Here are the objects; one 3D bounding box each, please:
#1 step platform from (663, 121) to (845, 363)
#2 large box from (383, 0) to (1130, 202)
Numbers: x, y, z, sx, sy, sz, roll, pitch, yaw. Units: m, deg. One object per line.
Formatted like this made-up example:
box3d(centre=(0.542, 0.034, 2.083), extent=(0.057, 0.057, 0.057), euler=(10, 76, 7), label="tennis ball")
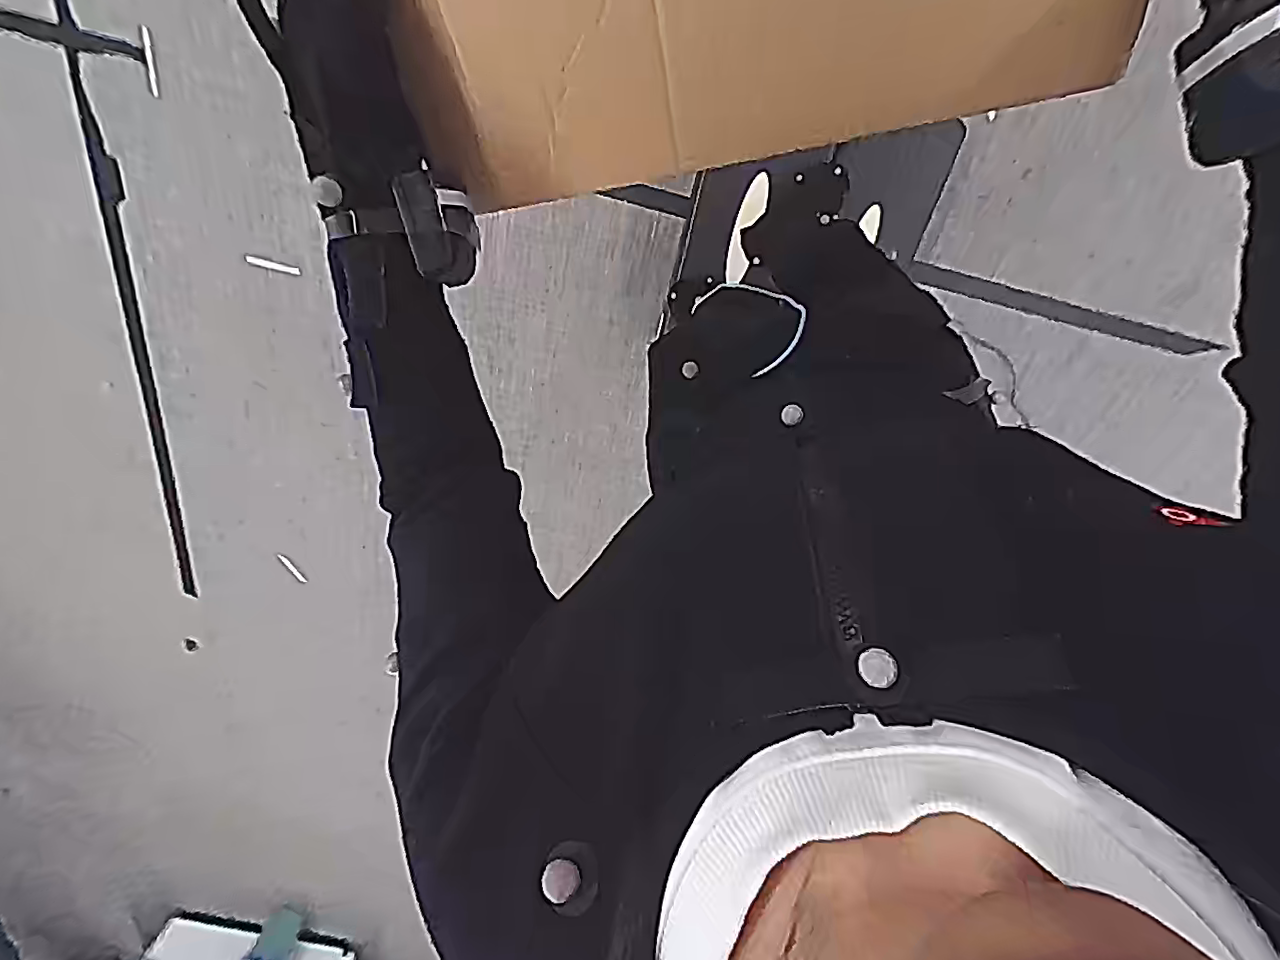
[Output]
box3d(centre=(0.261, -0.634, 1.307), extent=(0.286, 0.204, 0.684), euler=(12, 116, -1), label="step platform")
box3d(centre=(0.049, -0.427, 0.346), extent=(0.408, 0.320, 0.320), euler=(-4, 135, 13), label="large box")
